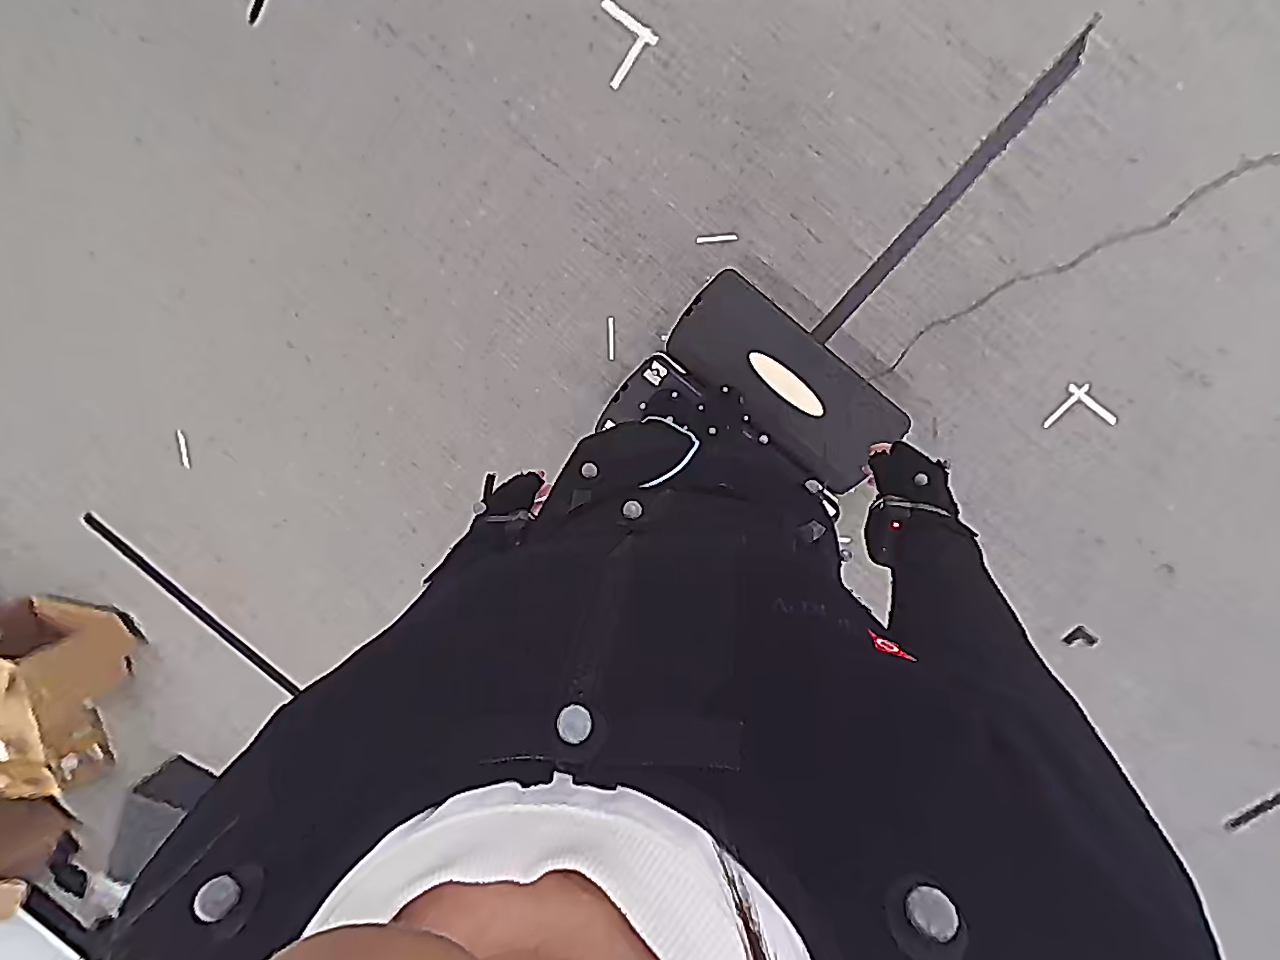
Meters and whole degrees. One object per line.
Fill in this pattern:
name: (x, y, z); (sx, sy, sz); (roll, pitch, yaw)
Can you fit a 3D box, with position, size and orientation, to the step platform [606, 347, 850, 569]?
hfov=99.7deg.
step platform: (0.239, -0.062, 1.505); (0.684, 0.204, 0.286); (39, 105, 1)
